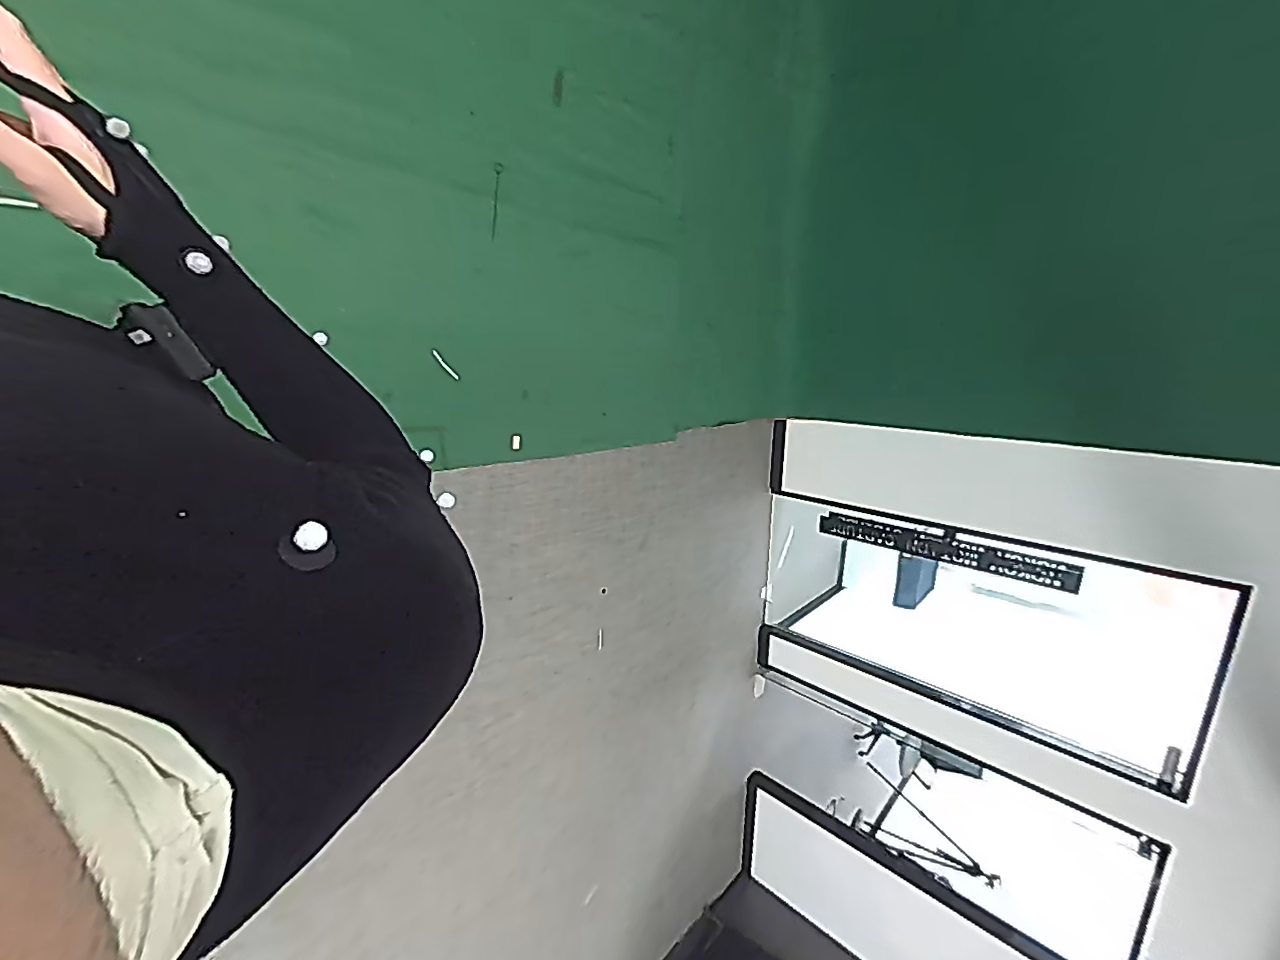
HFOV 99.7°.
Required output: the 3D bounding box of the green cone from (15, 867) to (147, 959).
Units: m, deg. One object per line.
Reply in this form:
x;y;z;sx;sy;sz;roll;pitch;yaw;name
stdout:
-1.190;1.075;1.160;0.202;0.368;0.200;-11;107;-44;green cone
